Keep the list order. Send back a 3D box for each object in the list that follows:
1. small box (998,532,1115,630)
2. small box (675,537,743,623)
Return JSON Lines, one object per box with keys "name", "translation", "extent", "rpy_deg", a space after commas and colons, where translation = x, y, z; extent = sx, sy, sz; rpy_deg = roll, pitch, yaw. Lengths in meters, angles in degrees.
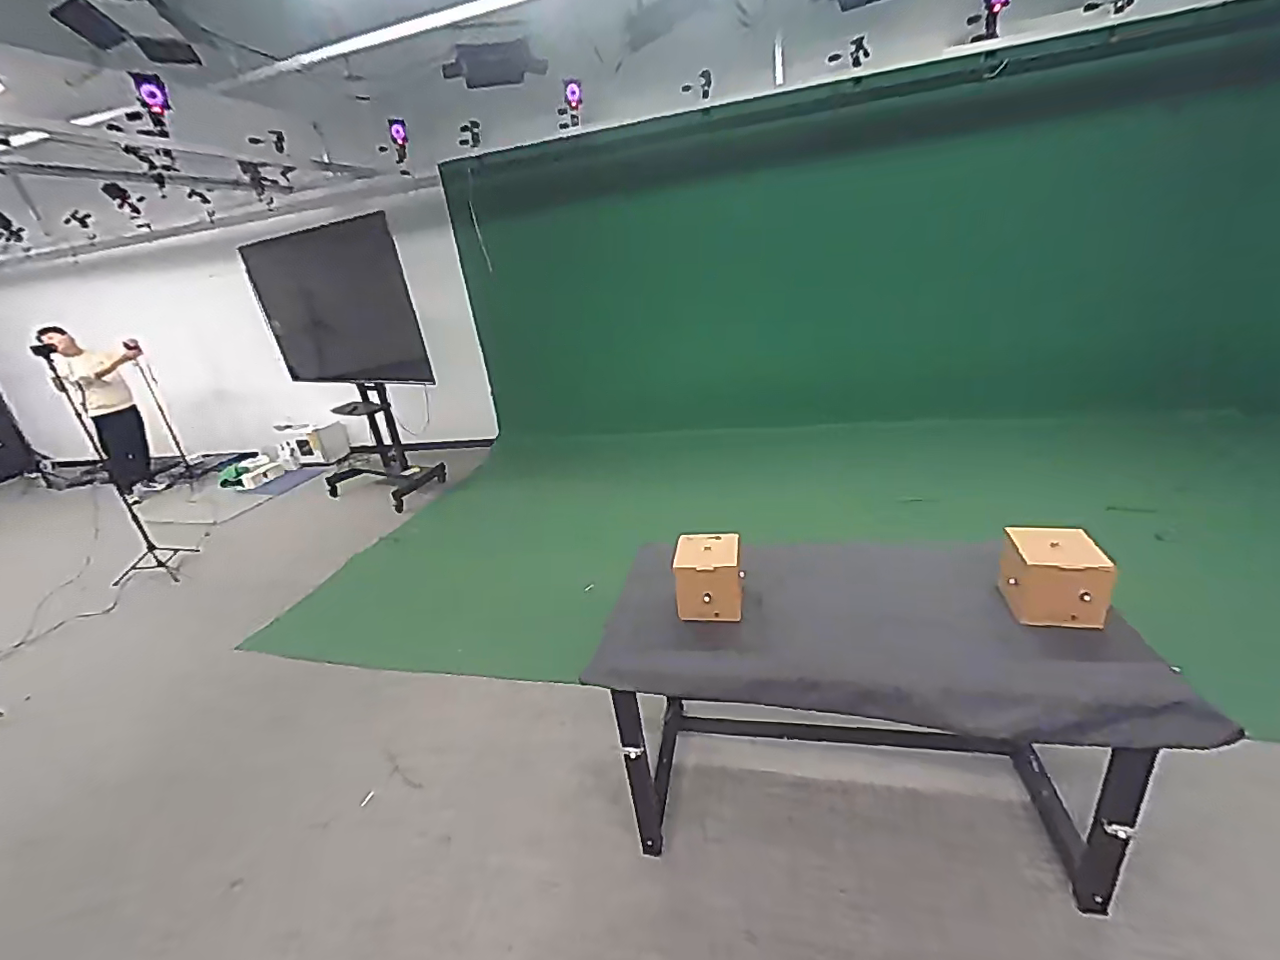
{"name": "small box", "translation": [0.979, 0.237, 1.287], "extent": [0.168, 0.176, 0.179], "rpy_deg": [0, 22, 17]}
{"name": "small box", "translation": [0.194, 0.273, 1.475], "extent": [0.168, 0.176, 0.179], "rpy_deg": [-2, 23, 13]}
